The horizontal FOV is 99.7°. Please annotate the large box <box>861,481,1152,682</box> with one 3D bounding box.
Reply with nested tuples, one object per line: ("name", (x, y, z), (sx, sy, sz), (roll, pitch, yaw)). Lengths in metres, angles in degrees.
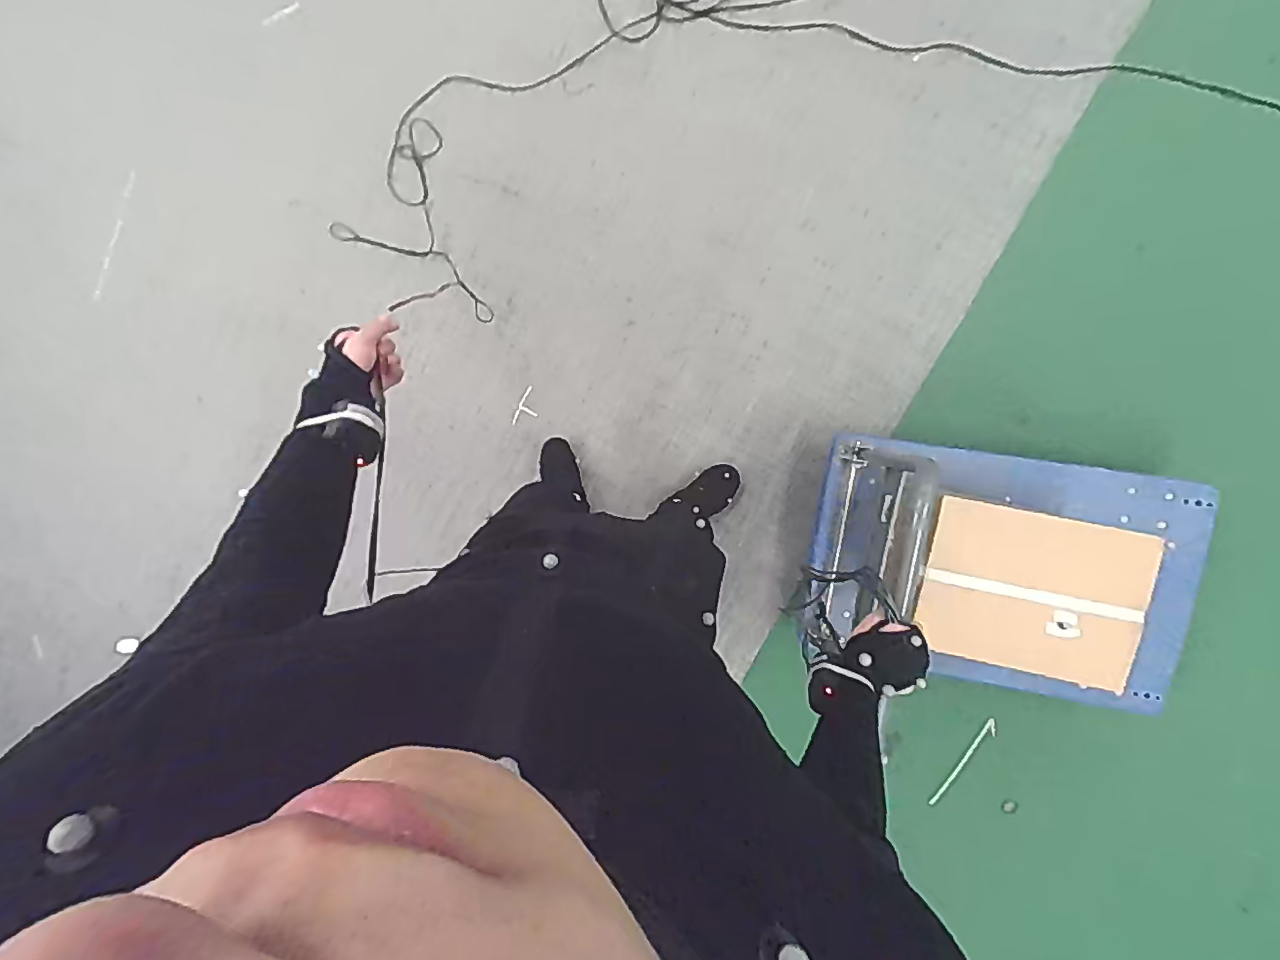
("large box", (0.763, 0.195, 1.202), (0.408, 0.320, 0.320), (12, 98, 6))
